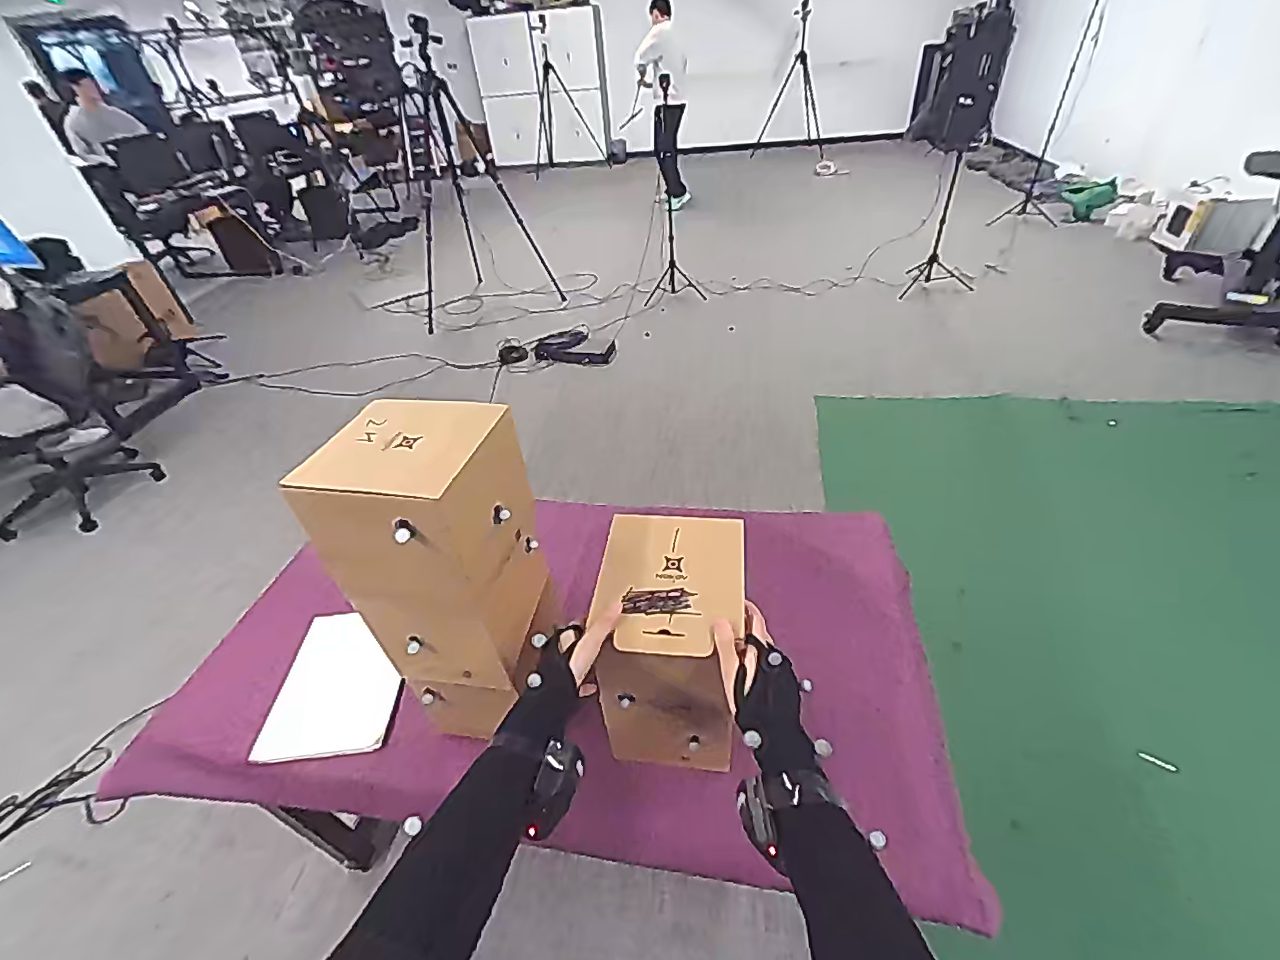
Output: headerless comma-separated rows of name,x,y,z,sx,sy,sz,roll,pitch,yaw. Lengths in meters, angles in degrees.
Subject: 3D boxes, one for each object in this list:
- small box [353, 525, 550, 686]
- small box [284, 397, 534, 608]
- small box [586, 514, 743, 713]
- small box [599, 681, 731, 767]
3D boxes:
small box,-0.230,0.148,0.718,0.168,0.176,0.179,3,39,11
small box,-0.236,0.024,0.609,0.179,0.176,0.168,4,38,12
small box,0.041,0.164,0.669,0.168,0.176,0.179,2,40,9
small box,0.049,0.284,0.777,0.168,0.176,0.179,3,40,10
